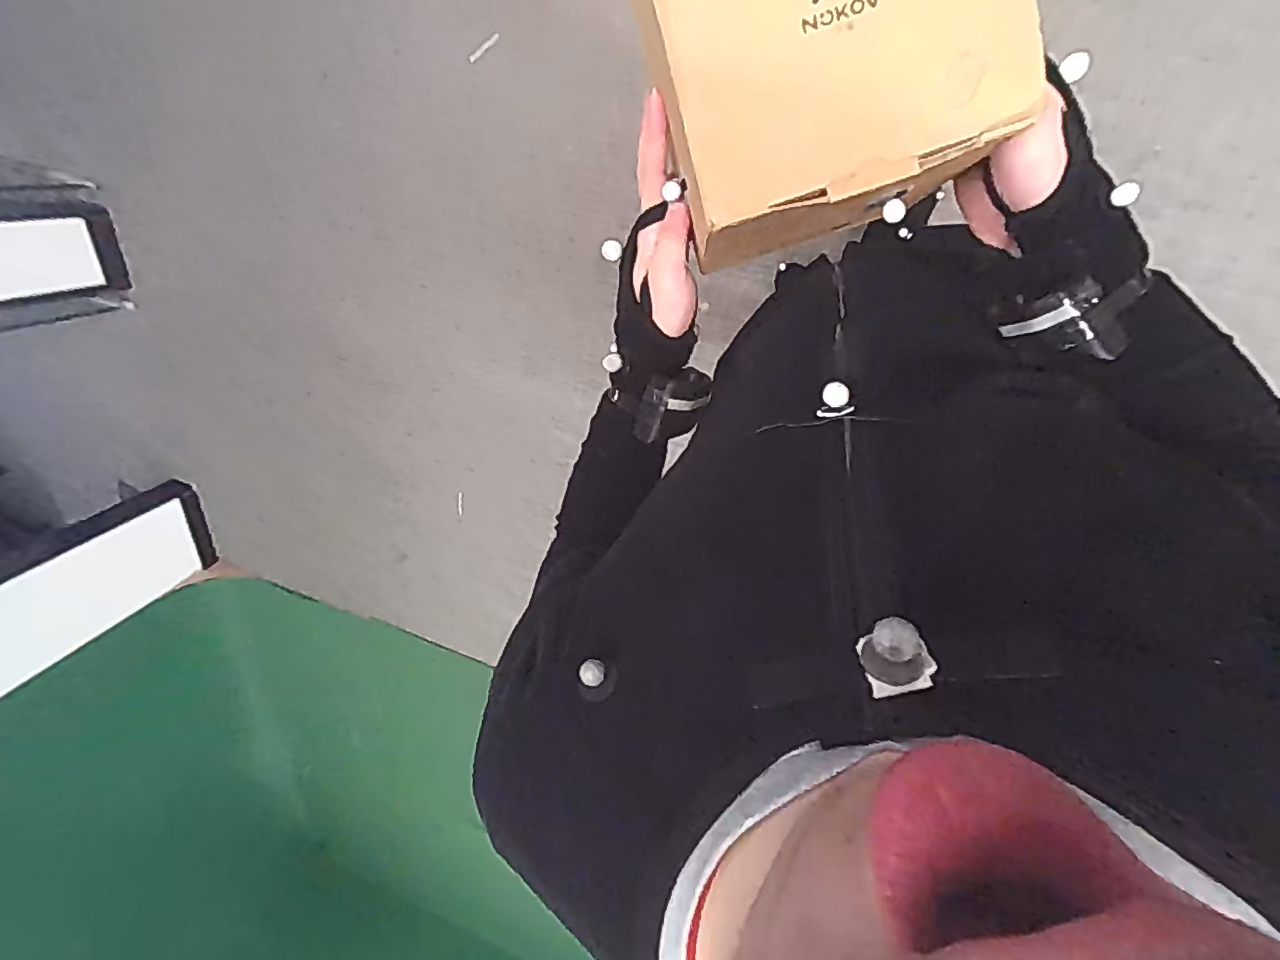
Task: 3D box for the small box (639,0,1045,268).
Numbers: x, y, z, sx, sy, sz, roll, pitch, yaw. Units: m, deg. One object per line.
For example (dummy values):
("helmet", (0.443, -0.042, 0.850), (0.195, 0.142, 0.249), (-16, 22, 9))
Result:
("small box", (0.099, -0.244, 0.332), (0.168, 0.176, 0.179), (-16, 100, 7))
